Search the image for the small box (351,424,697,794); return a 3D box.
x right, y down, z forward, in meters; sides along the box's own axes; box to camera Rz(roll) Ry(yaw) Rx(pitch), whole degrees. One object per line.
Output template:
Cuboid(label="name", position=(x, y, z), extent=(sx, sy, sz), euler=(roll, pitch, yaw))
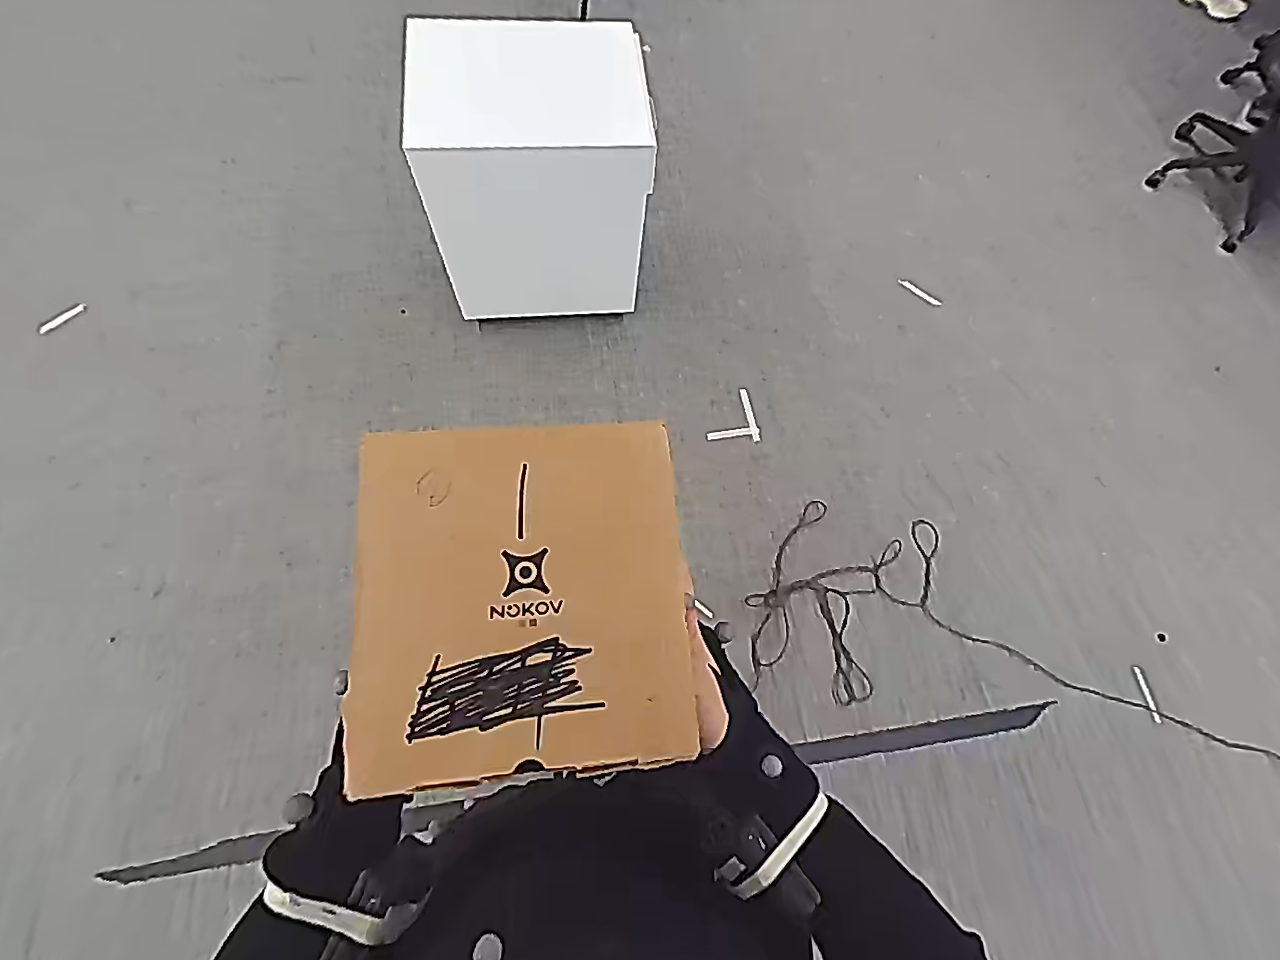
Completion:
Cuboid(label="small box", position=(-0.066, 0.076, 0.351), extent=(0.168, 0.176, 0.179), euler=(-3, 75, -8))
